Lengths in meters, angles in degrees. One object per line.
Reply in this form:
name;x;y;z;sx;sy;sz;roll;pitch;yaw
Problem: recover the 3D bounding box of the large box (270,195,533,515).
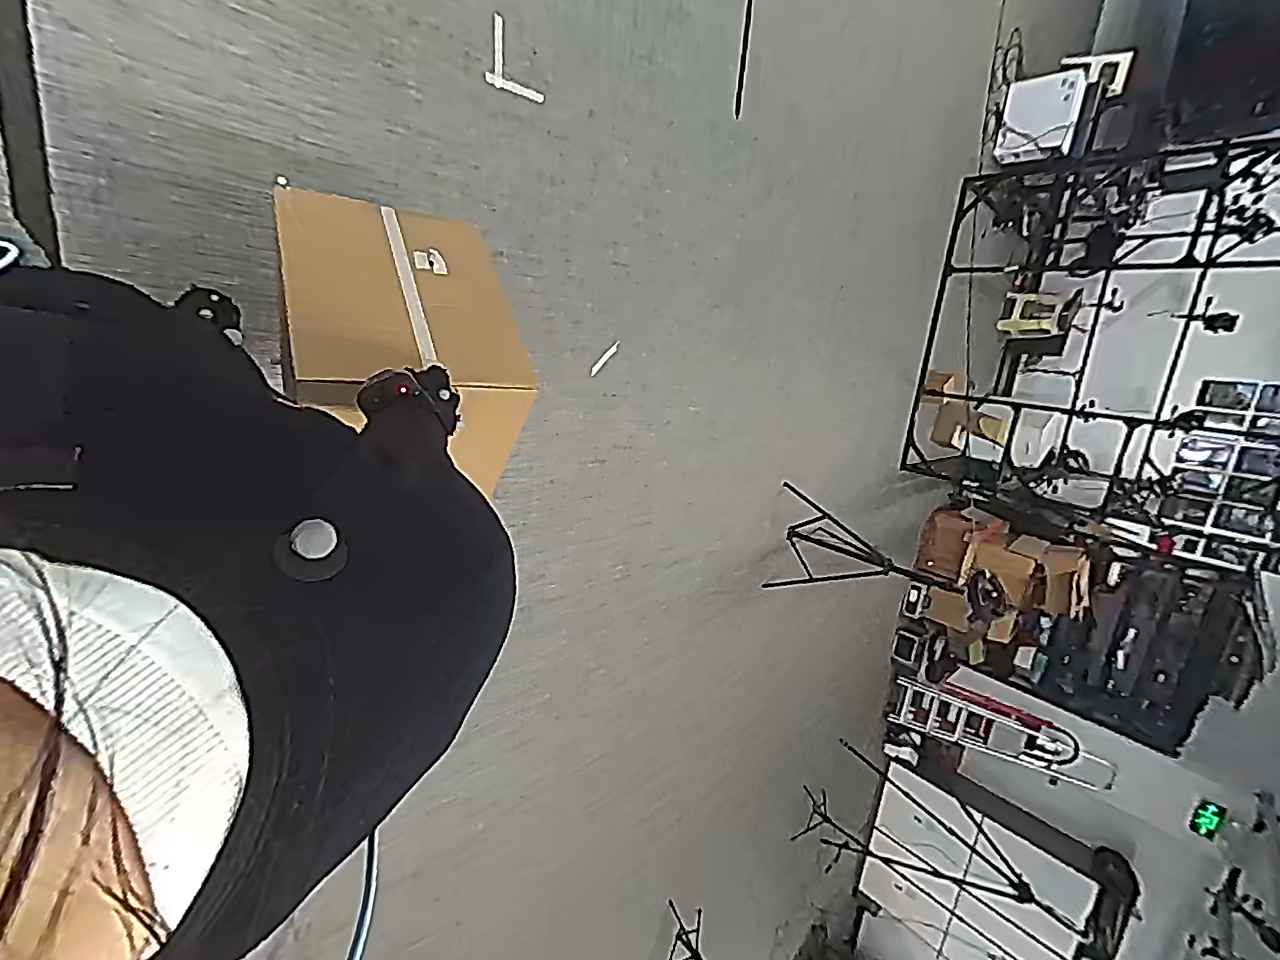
large box;-0.426;-0.198;0.923;0.320;0.408;0.320;-4;146;-37
